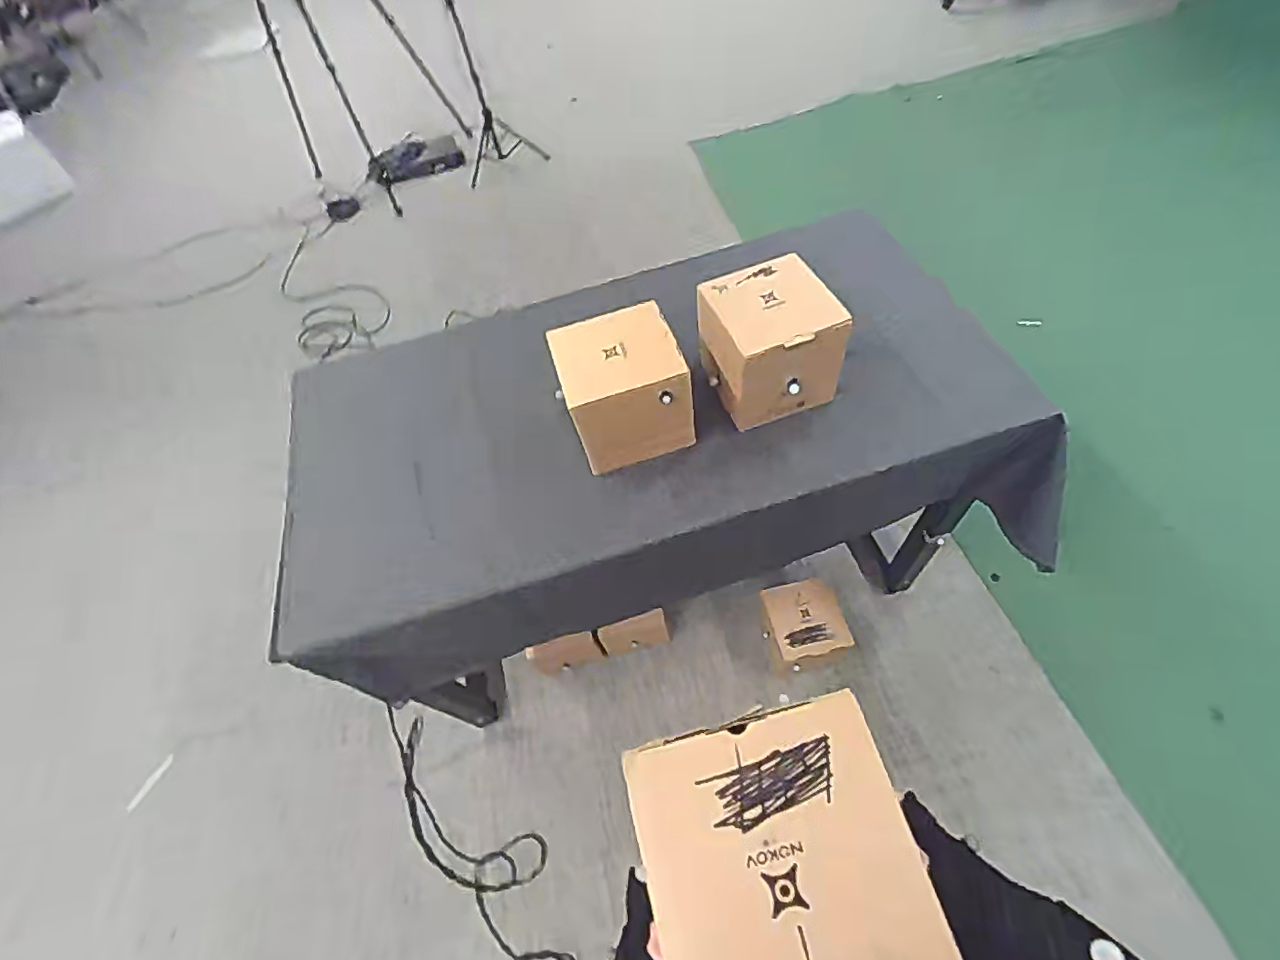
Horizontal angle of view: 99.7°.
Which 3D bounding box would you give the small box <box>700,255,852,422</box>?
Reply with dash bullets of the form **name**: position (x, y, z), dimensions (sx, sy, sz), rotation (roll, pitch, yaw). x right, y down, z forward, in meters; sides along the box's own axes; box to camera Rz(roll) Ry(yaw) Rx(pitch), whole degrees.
- **small box**: position (0.202, -0.212, 0.850), dimensions (0.168, 0.176, 0.179), rotation (-18, 57, -5)
